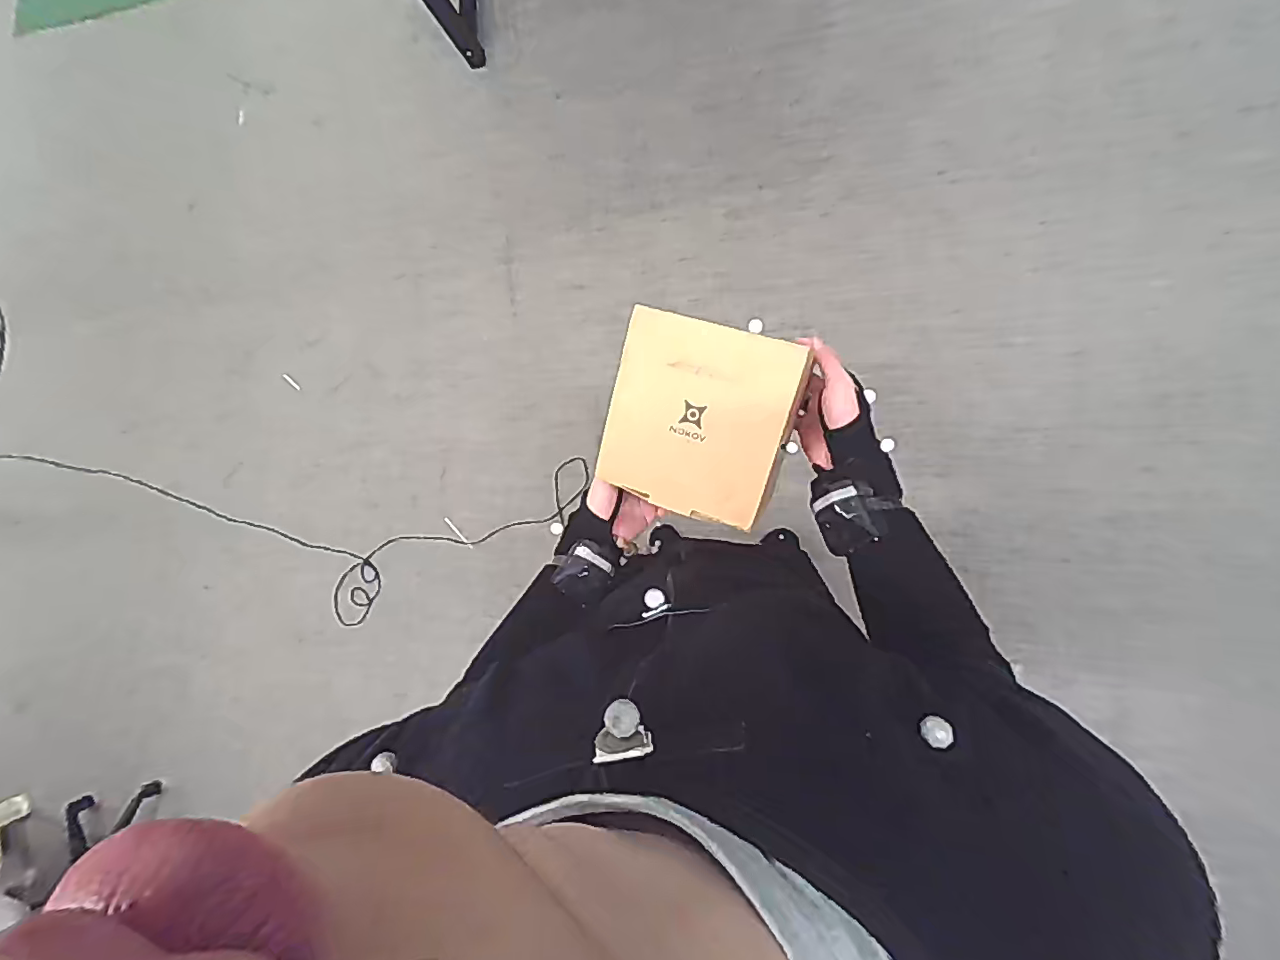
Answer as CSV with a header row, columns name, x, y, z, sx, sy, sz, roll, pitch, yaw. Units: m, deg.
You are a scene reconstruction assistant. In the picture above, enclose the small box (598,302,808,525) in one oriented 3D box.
name,x,y,z,sx,sy,sz,roll,pitch,yaw
small box,0.076,-0.076,0.580,0.168,0.176,0.179,18,105,15
